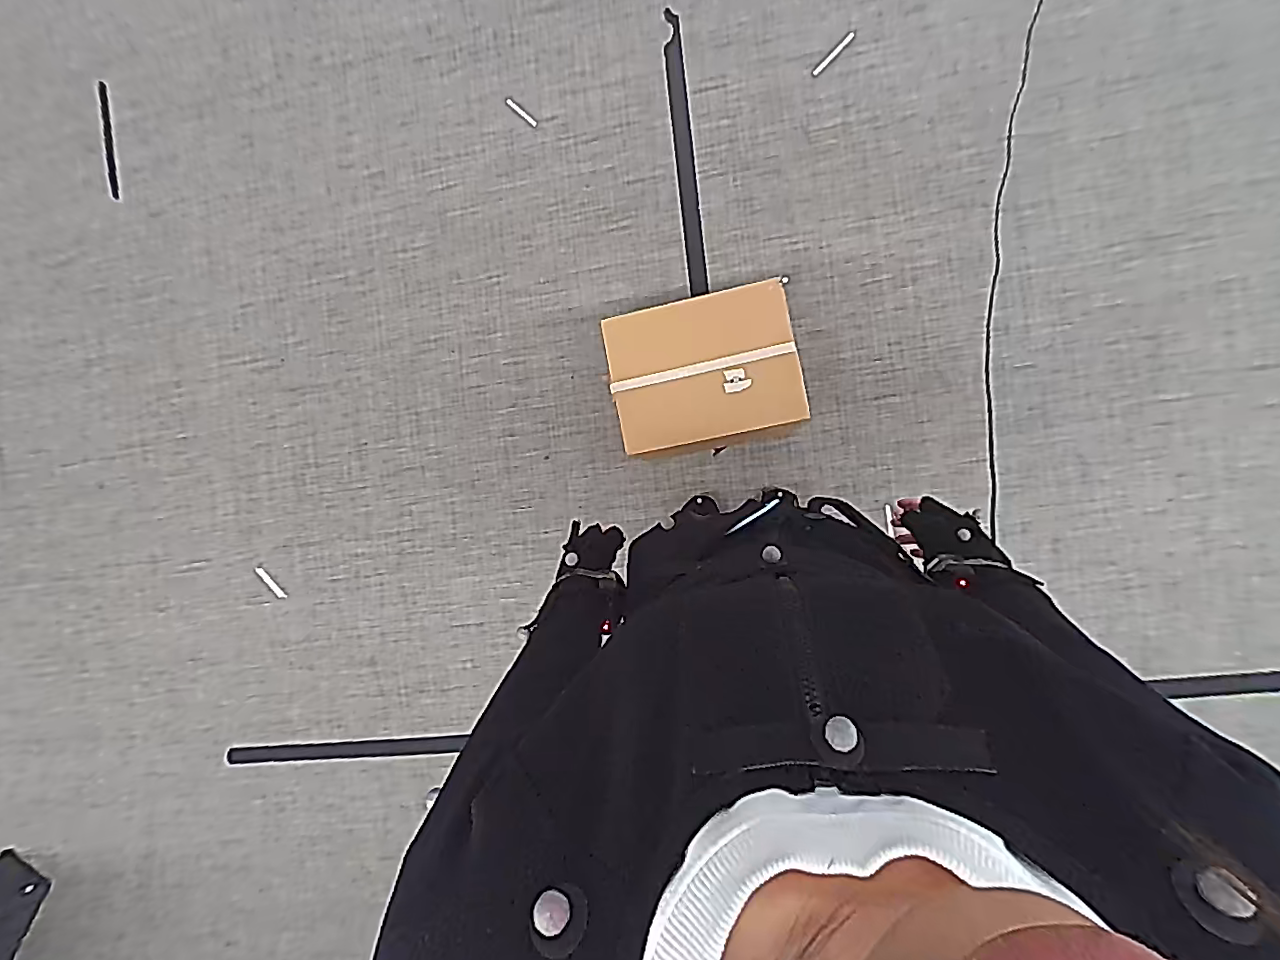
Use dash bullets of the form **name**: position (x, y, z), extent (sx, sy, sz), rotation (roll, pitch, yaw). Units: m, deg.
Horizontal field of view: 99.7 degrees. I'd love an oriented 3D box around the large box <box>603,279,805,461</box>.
- **large box**: position (0.156, -0.244, 1.340), extent (0.408, 0.320, 0.320), rotation (-11, 88, 8)
